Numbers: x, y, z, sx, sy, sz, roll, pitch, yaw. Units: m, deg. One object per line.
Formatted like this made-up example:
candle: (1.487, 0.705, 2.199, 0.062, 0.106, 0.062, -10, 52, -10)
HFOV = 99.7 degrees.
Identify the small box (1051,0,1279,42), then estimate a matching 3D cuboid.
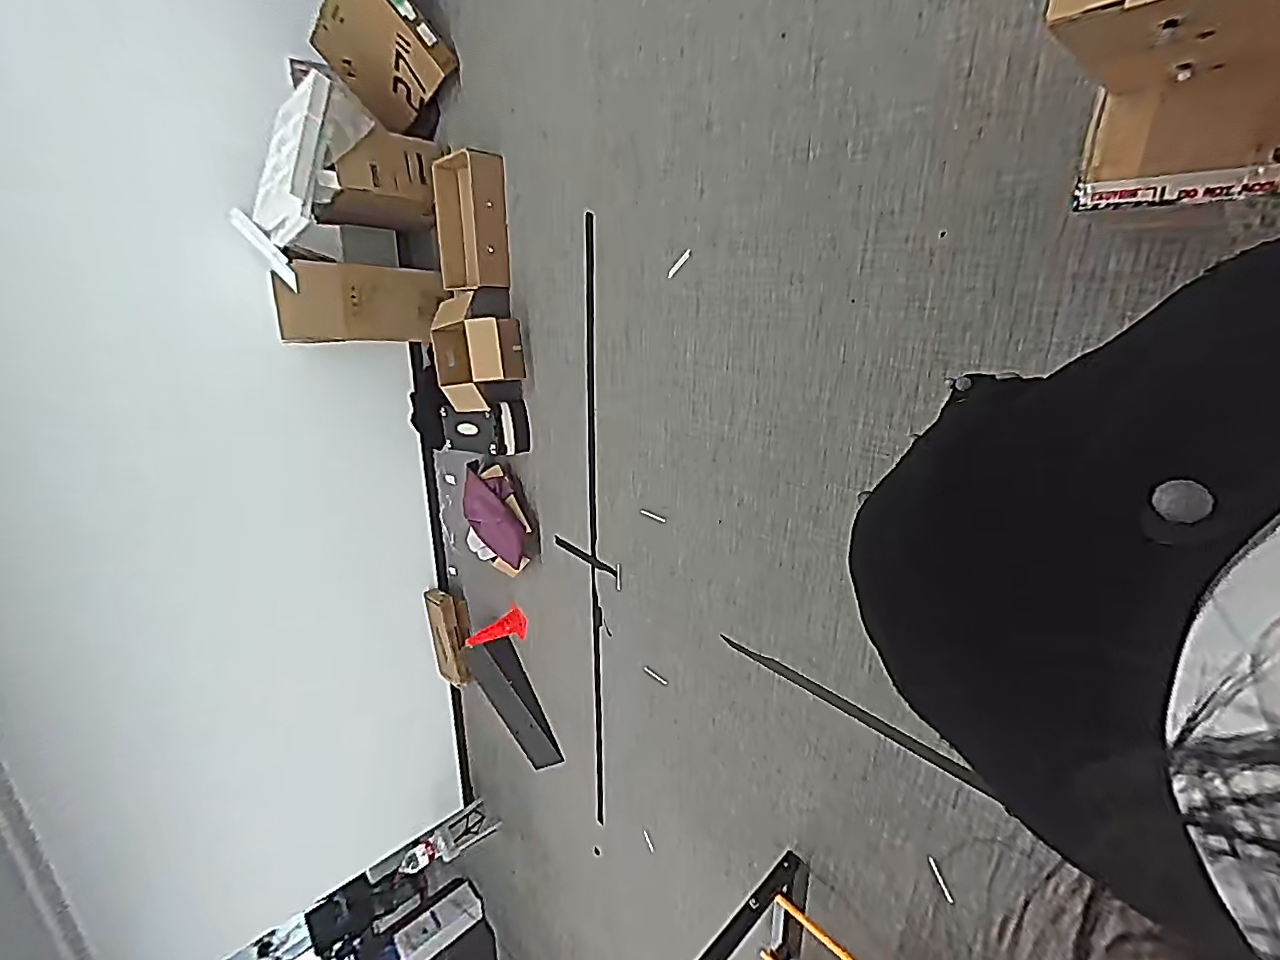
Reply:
small box: (0.507, -0.527, 0.481, 0.168, 0.176, 0.179, 21, 120, 45)
